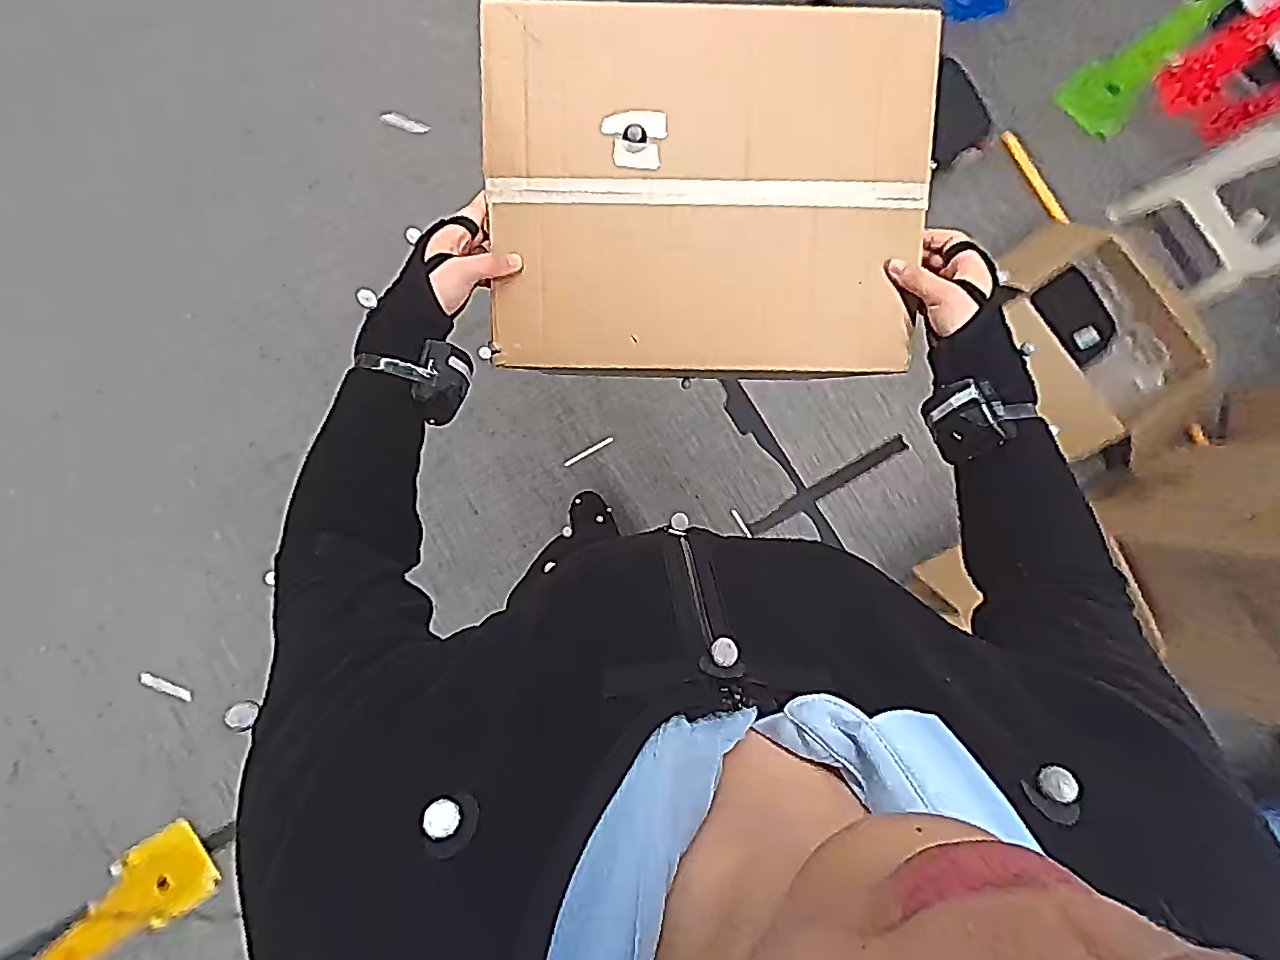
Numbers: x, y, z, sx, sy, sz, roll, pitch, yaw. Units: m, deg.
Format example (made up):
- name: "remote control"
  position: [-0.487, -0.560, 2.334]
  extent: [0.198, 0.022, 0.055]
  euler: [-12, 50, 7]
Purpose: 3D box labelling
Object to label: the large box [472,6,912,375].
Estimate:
- name: "large box"
  position: [0.052, -0.290, 0.654]
  extent: [0.408, 0.320, 0.320]
  euler: [-1, 98, 1]
